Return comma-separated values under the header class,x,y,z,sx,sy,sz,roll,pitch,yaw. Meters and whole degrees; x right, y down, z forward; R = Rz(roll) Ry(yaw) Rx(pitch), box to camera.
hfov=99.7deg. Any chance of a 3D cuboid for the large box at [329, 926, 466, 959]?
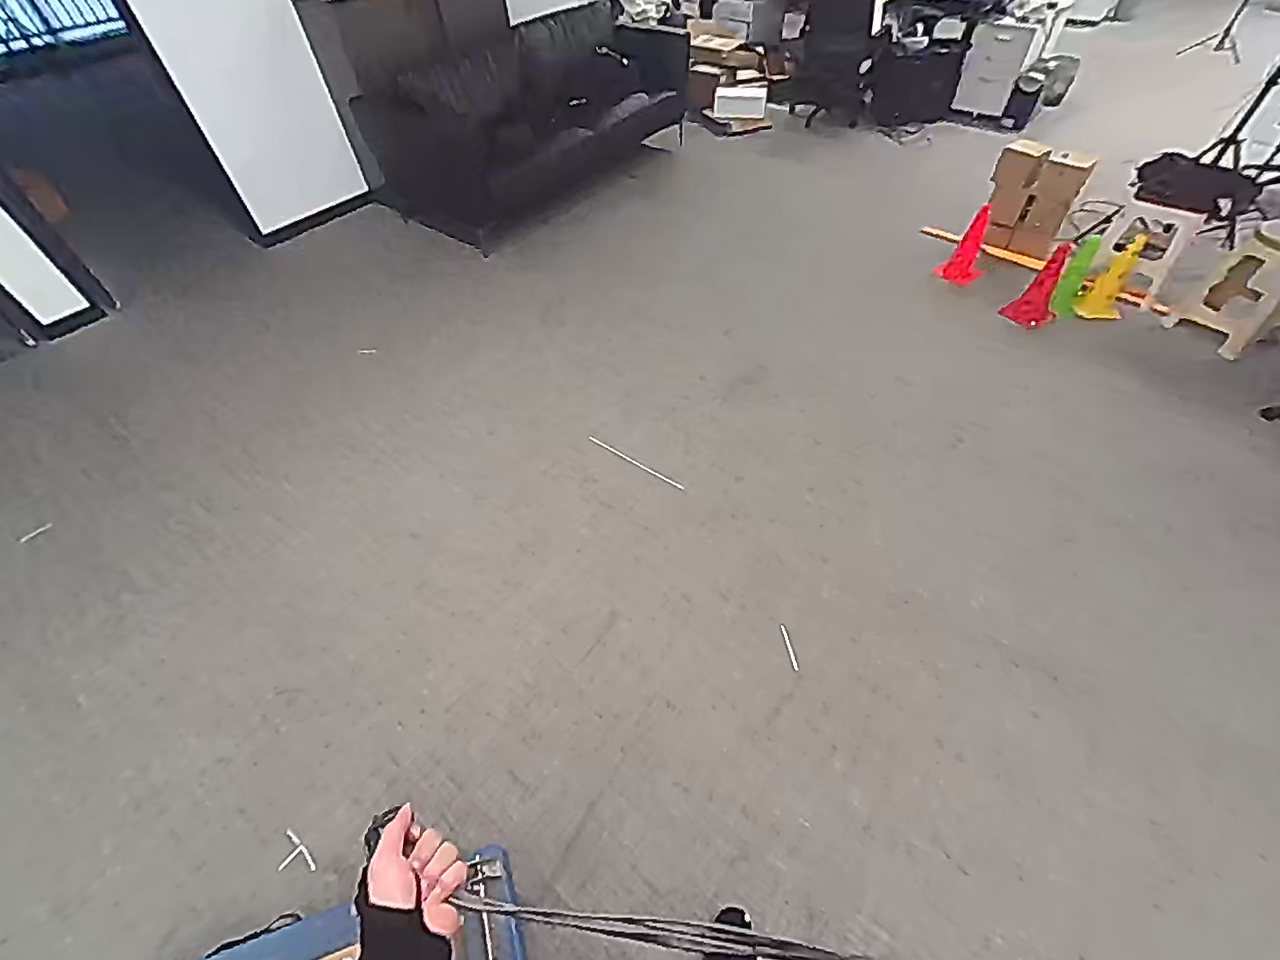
class,x,y,z,sx,sy,sz,roll,pitch,yaw
large box,-0.499,0.984,0.861,0.408,0.320,0.320,-17,51,-11
